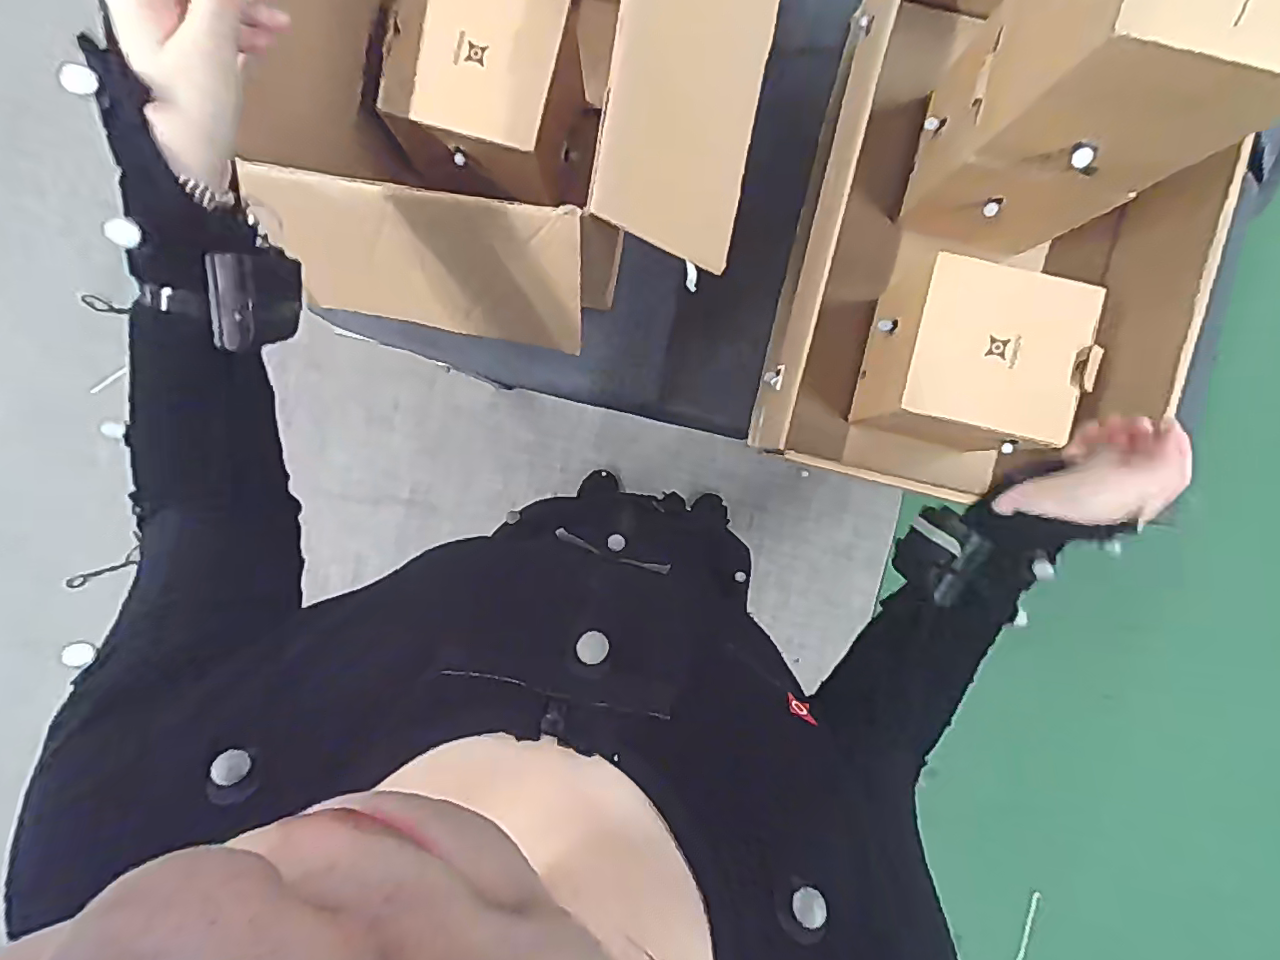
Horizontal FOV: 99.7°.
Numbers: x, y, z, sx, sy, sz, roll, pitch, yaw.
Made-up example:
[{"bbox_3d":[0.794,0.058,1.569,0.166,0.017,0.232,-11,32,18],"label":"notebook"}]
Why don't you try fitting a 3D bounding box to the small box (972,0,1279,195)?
[{"bbox_3d":[0.425,-0.381,0.460,0.168,0.176,0.179,14,96,-1],"label":"small box"}]
